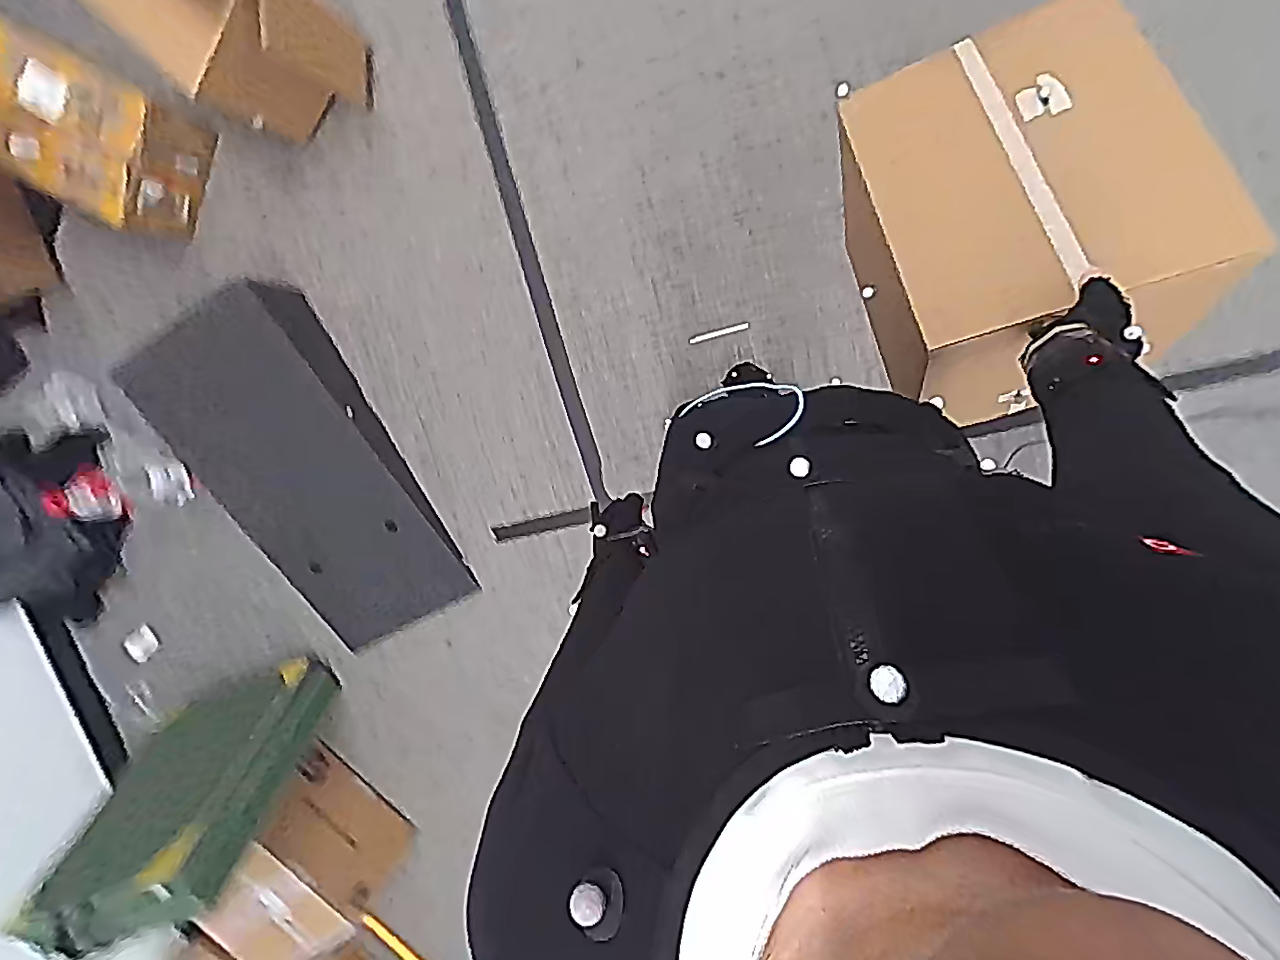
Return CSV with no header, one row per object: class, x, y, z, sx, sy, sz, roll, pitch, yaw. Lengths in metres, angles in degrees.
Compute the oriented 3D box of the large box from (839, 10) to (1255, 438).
large box,0.505,-0.327,0.784,0.320,0.320,0.408,-14,69,17
